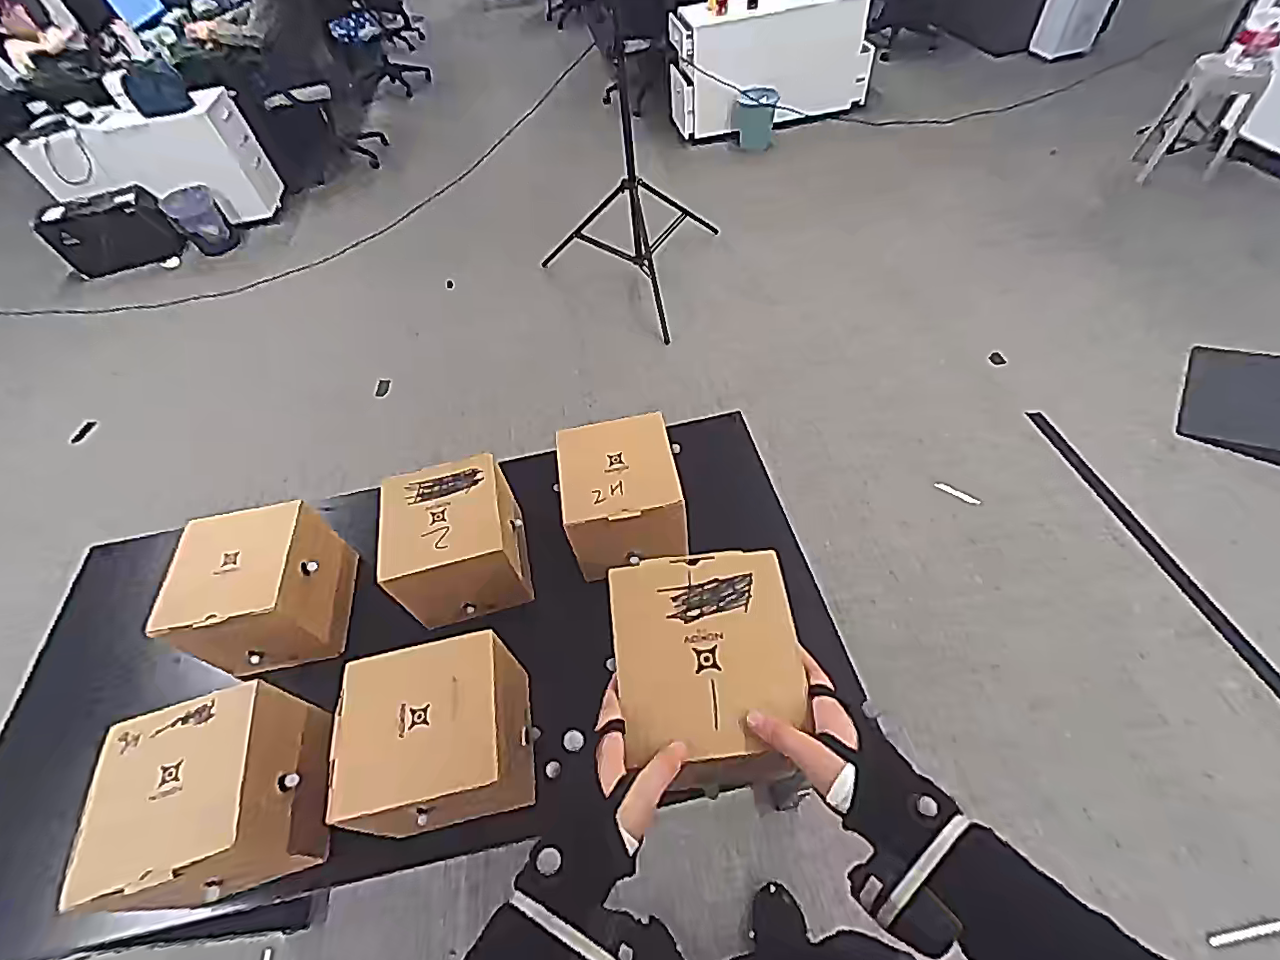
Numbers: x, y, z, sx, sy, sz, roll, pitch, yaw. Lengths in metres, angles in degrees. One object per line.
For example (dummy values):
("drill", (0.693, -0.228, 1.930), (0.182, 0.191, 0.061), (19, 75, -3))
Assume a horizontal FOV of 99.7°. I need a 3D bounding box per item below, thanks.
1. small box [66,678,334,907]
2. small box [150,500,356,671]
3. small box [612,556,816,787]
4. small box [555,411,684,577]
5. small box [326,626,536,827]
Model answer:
("small box", (-0.486, 0.364, 0.635), (0.168, 0.176, 0.179), (-17, 53, -6))
("small box", (-0.548, 0.158, 0.800), (0.168, 0.176, 0.179), (-11, 53, -2))
("small box", (0.062, 0.201, 0.560), (0.168, 0.176, 0.179), (-7, 54, 0))
("small box", (-0.030, 0.024, 0.835), (0.168, 0.176, 0.179), (-11, 52, 0))
("small box", (-0.237, 0.302, 0.653), (0.179, 0.176, 0.168), (-13, 53, -4))
